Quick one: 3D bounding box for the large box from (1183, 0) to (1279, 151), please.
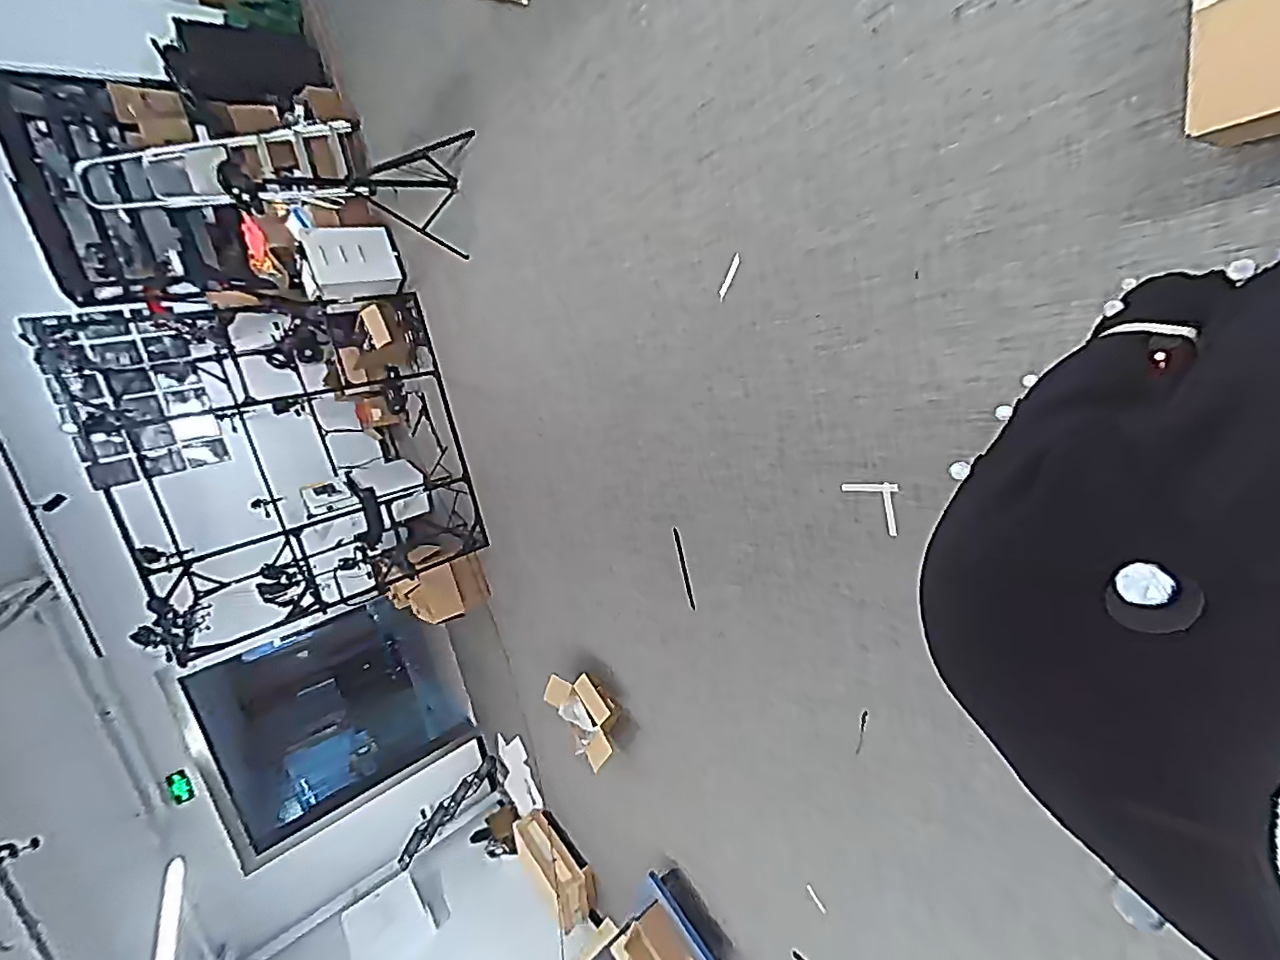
[{"bbox_3d":[0.932,-0.631,0.621,0.408,0.320,0.320,7,113,52],"label":"large box"}]
